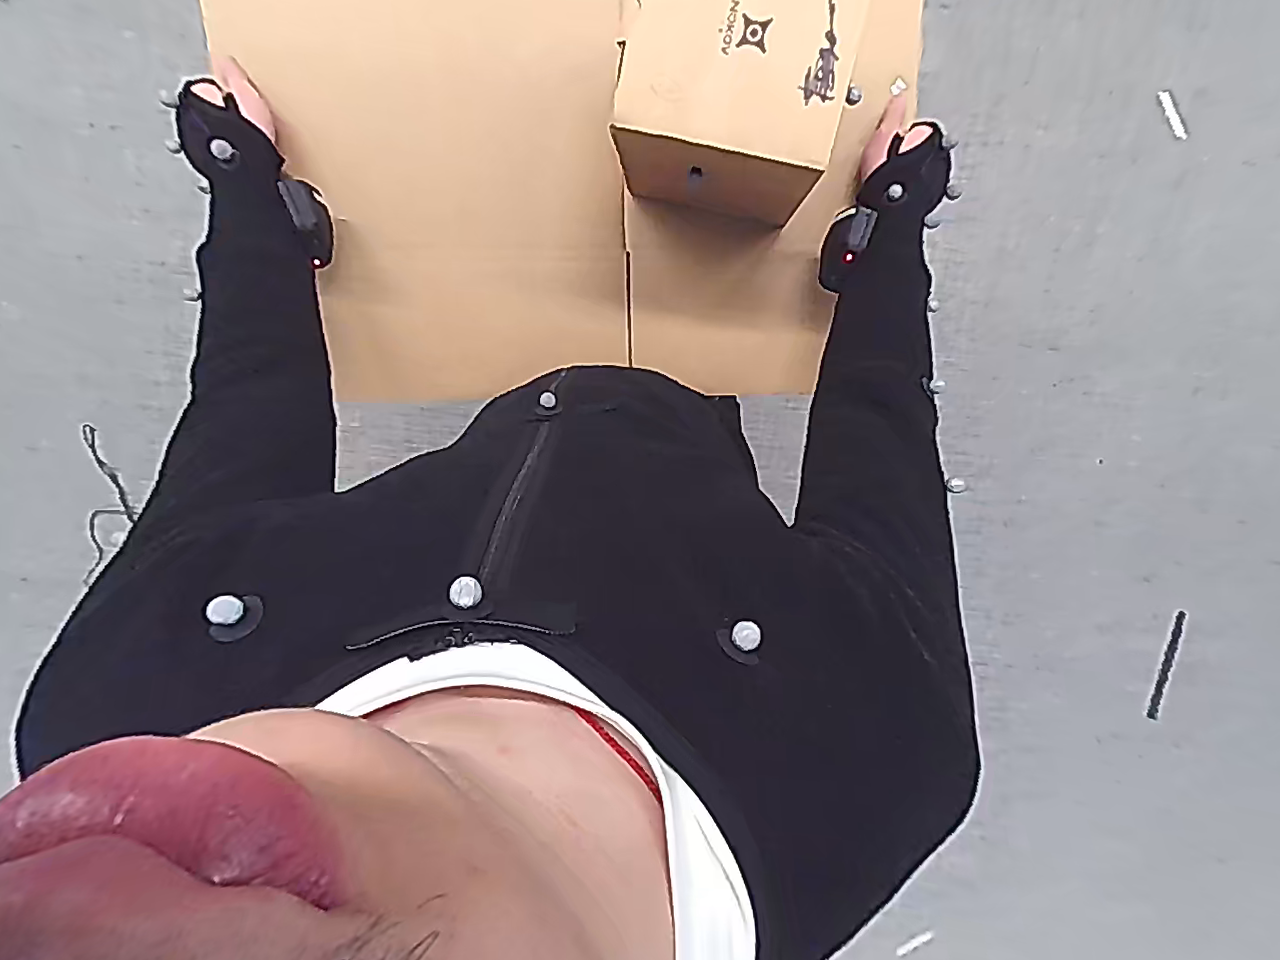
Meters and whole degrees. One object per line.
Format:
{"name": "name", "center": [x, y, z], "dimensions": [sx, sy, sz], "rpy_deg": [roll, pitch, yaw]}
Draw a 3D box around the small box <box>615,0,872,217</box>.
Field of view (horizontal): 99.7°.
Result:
{"name": "small box", "center": [0.088, -0.358, 0.489], "dimensions": [0.179, 0.176, 0.168], "rpy_deg": [13, 103, 2]}
